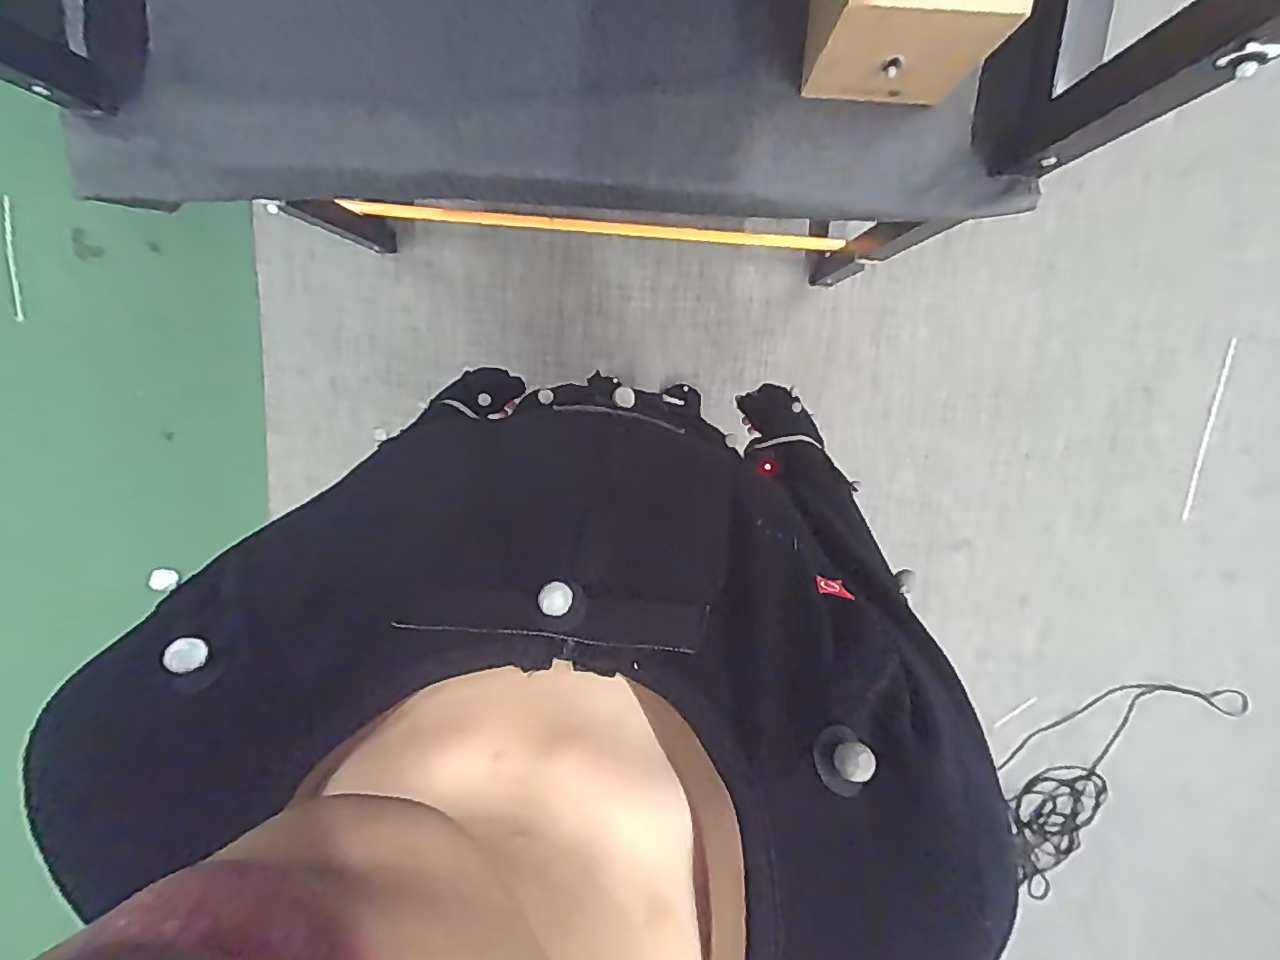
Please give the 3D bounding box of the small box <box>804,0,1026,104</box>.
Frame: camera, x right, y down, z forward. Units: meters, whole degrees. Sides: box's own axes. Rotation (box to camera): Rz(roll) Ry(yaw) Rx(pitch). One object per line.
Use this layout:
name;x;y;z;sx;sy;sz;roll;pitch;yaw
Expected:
small box;0.276;-0.521;0.555;0.168;0.176;0.179;4;100;1
